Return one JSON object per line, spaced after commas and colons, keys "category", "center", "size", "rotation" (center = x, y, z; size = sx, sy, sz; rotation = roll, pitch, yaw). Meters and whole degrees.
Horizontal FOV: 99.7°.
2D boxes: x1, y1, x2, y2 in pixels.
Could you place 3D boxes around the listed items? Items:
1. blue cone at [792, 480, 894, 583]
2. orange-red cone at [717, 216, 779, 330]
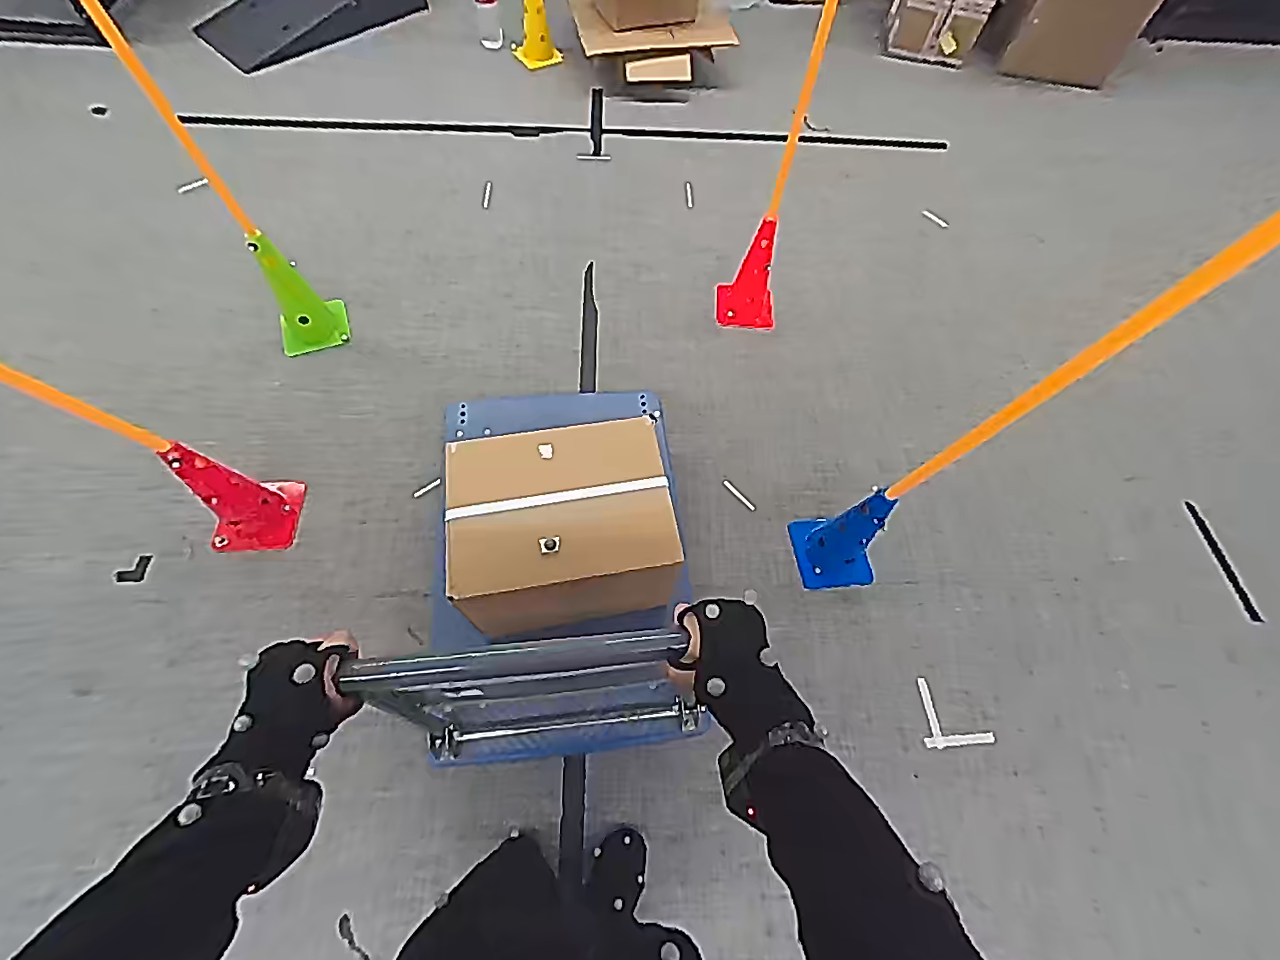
{"category": "blue cone", "center": [0.540, 0.113, 1.358], "size": [0.193, 0.380, 0.192], "rotation": [-4, 61, -6]}
{"category": "orange-red cone", "center": [0.385, -0.691, 1.755], "size": [0.199, 0.360, 0.198], "rotation": [6, 63, -2]}
